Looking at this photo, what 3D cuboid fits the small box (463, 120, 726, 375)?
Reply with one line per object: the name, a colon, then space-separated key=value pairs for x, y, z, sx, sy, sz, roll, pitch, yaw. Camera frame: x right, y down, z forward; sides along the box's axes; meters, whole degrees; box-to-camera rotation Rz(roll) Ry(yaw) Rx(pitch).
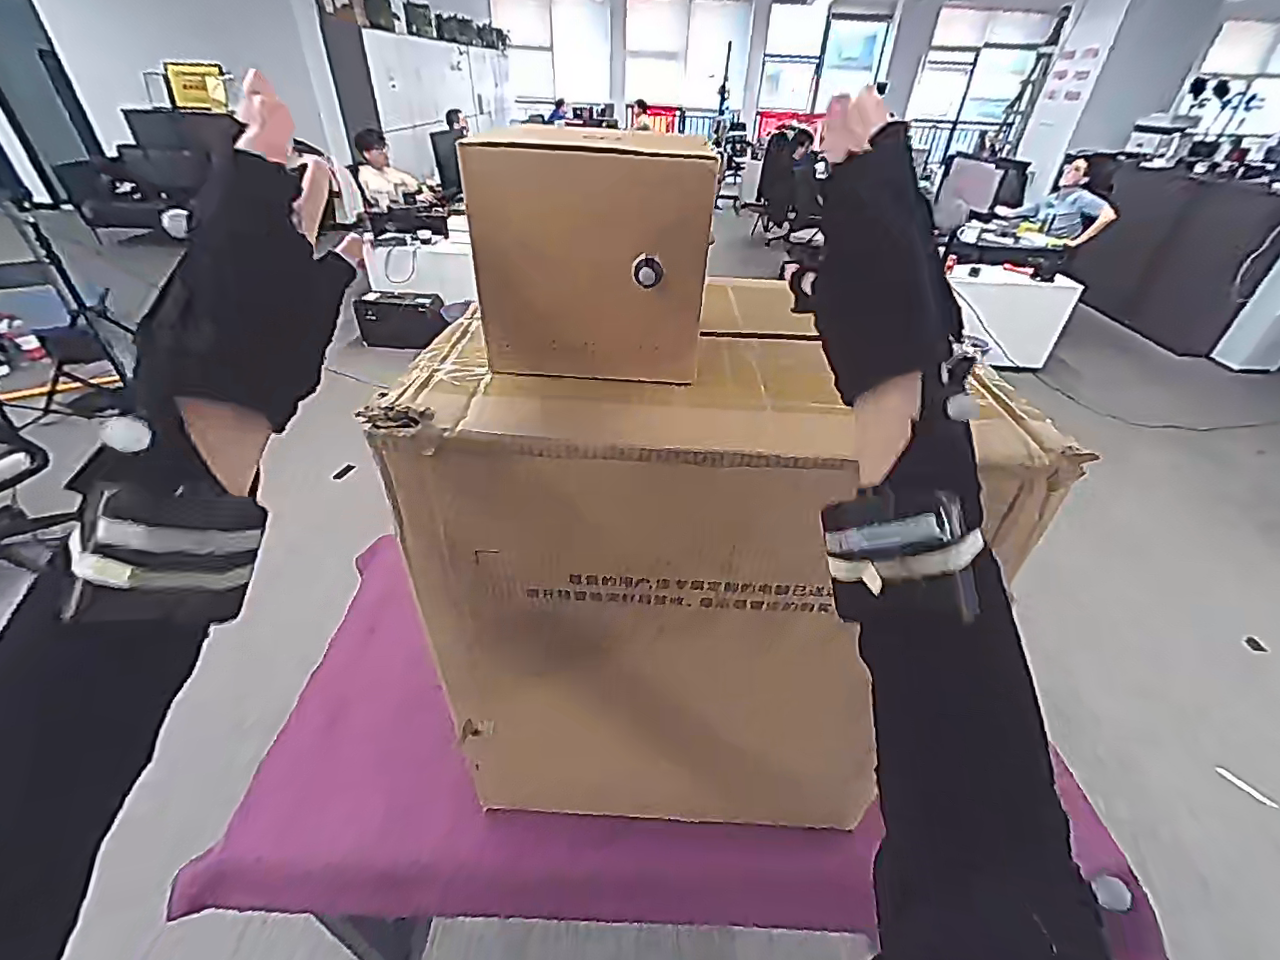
small box: x=-0.031 y=-0.200 z=0.465 sx=0.179 sy=0.176 sz=0.168 roll=2 pitch=36 yaw=0
